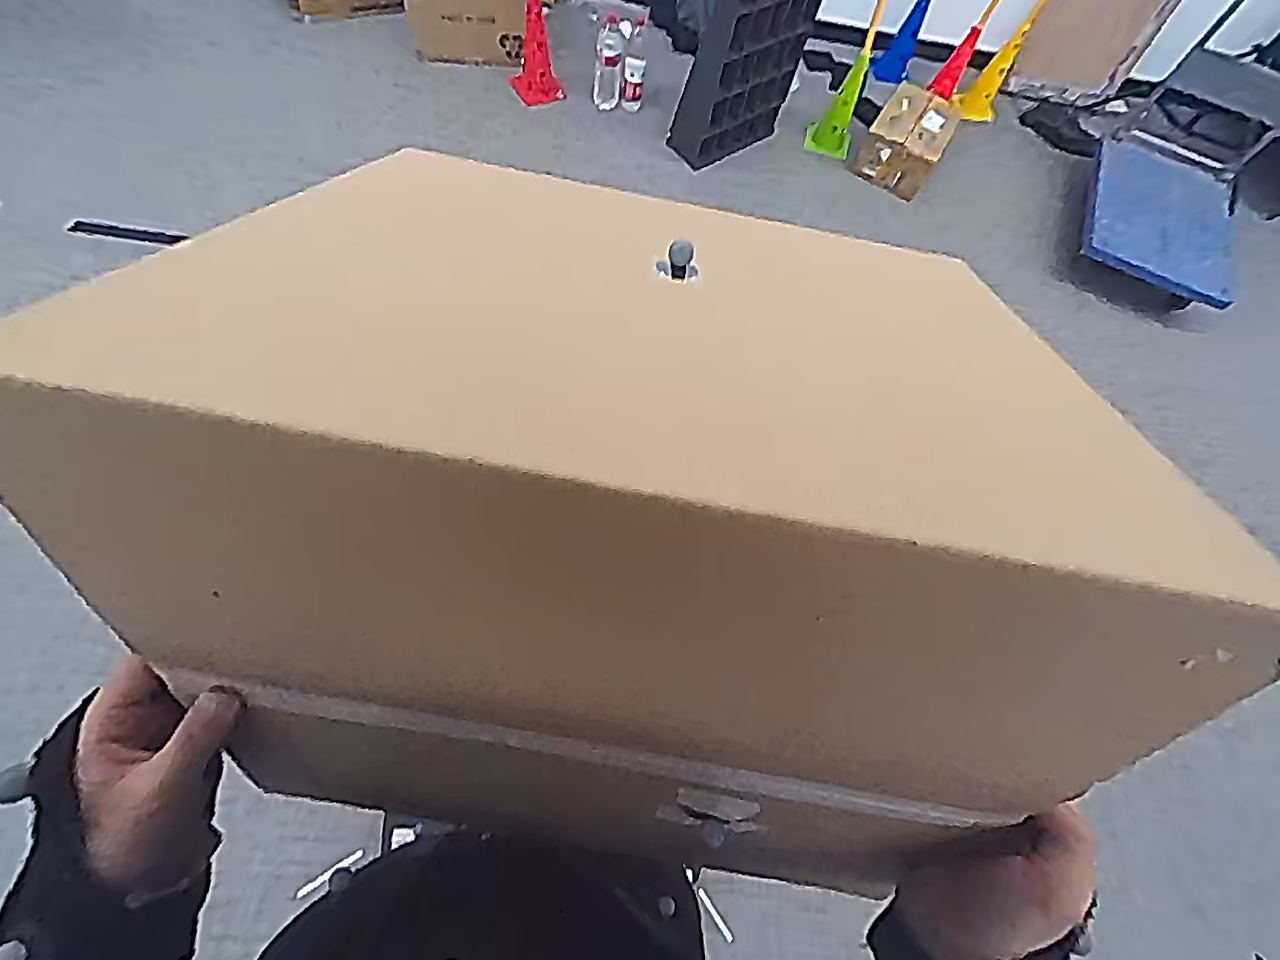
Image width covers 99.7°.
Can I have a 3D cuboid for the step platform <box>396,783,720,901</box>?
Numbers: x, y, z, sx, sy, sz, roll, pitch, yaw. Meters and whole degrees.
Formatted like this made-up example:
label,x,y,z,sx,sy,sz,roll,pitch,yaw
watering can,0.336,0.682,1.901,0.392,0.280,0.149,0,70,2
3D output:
label,x,y,z,sx,sy,sz,roll,pitch,yaw
step platform,-0.162,0.689,1.197,0.684,0.204,0.286,13,65,-3
